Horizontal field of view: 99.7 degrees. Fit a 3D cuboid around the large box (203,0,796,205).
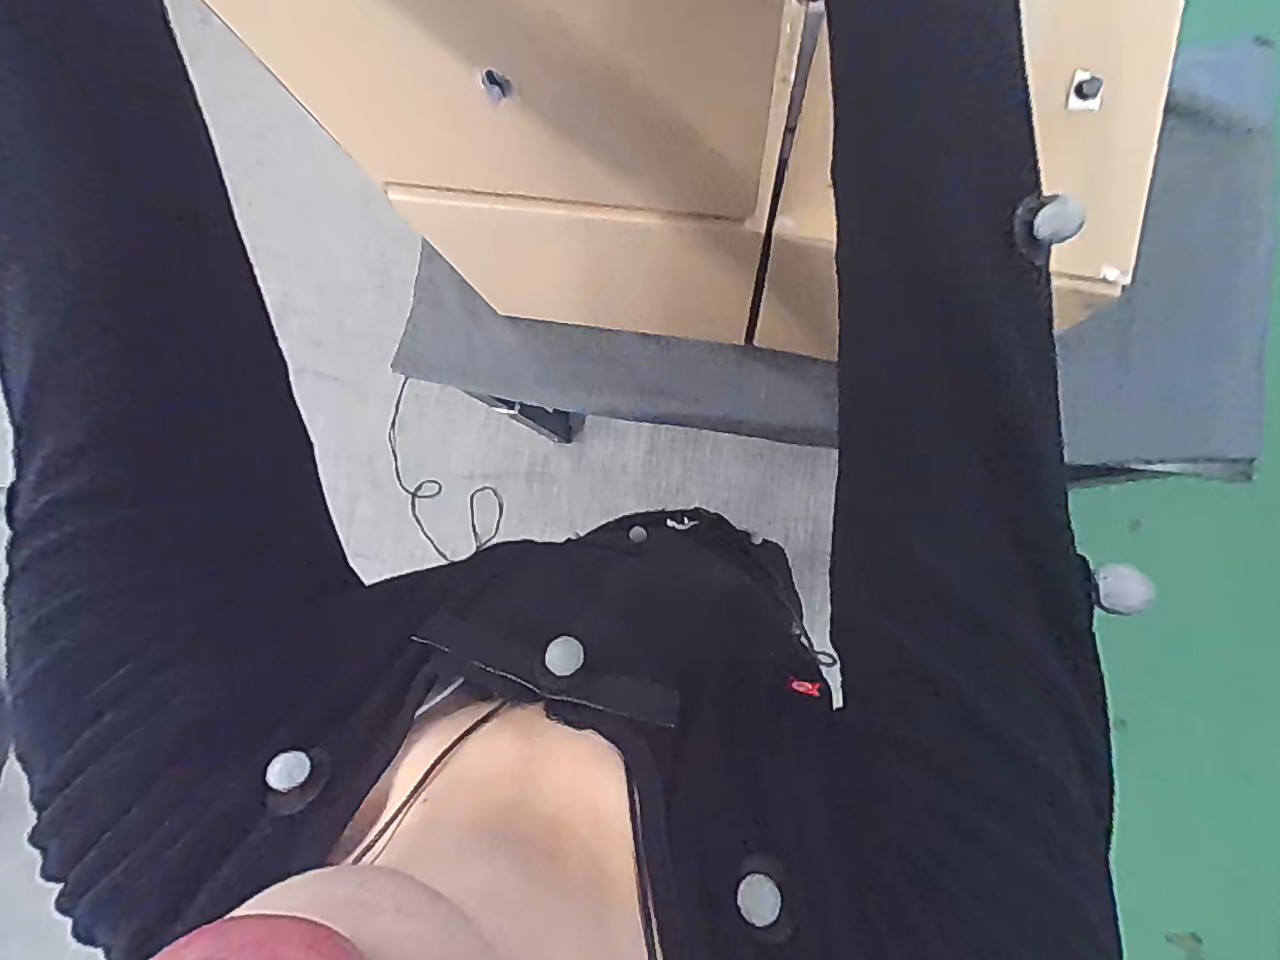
[{"bbox_3d":[-0.078,-0.445,0.404,0.408,0.320,0.320,9,84,10],"label":"large box"}]
